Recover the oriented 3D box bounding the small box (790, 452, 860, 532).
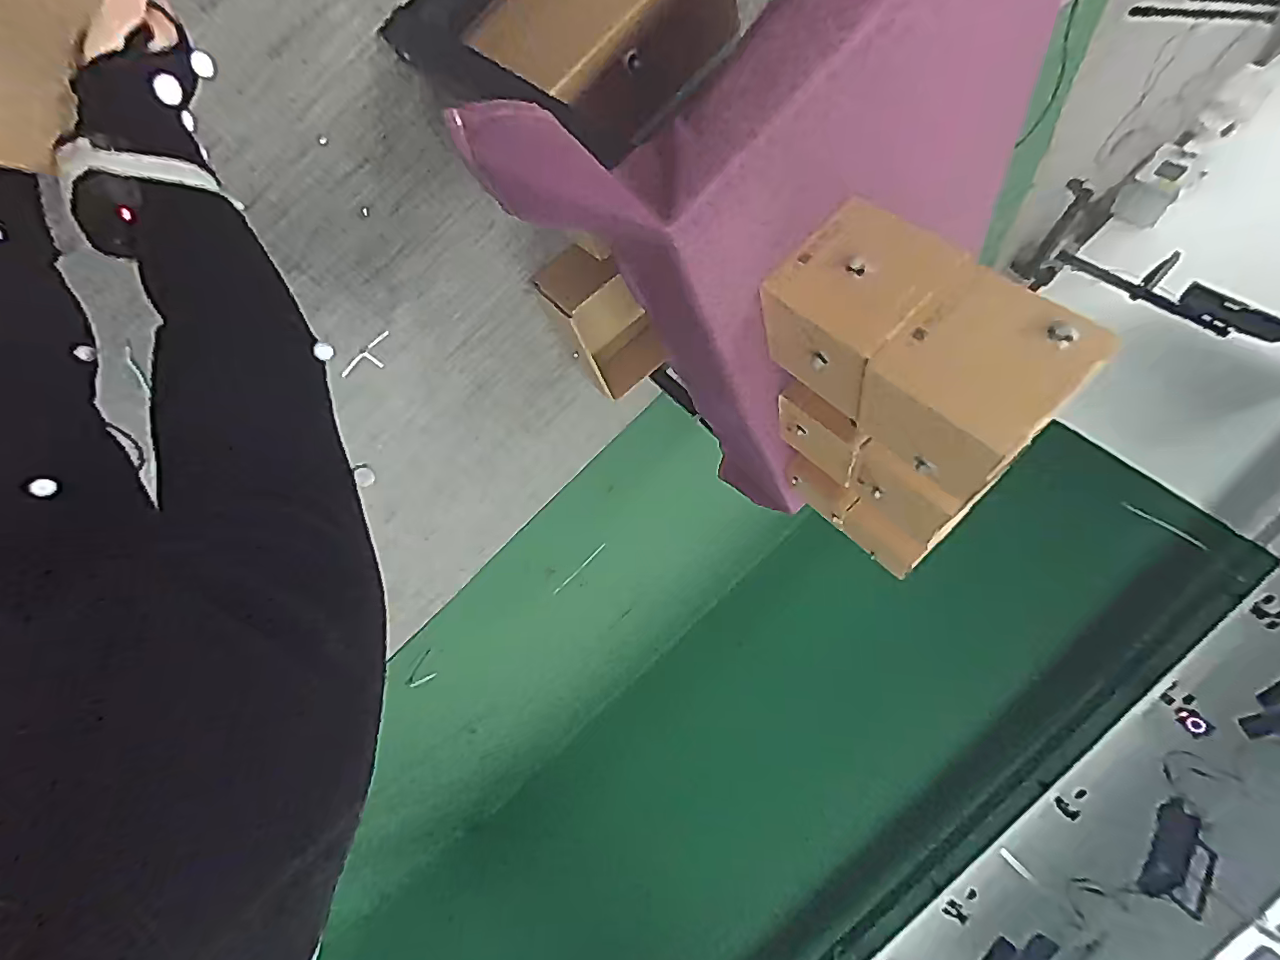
[{"bbox_3d":[0.466,-0.013,1.259,0.179,0.176,0.168,-45,153,0],"label":"small box"}]

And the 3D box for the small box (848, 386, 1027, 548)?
[{"bbox_3d":[0.480,-0.022,0.901,0.179,0.176,0.168,-41,153,-5],"label":"small box"}]

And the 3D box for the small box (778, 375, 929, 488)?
[{"bbox_3d":[0.372,-0.124,0.972,0.179,0.176,0.168,-41,153,-4],"label":"small box"}]

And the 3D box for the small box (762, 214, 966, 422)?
[{"bbox_3d":[0.277,-0.213,0.704,0.168,0.176,0.179,-43,153,0],"label":"small box"}]

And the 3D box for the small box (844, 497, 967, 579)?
[{"bbox_3d":[0.570,0.091,1.190,0.168,0.176,0.179,-44,153,-2],"label":"small box"}]
